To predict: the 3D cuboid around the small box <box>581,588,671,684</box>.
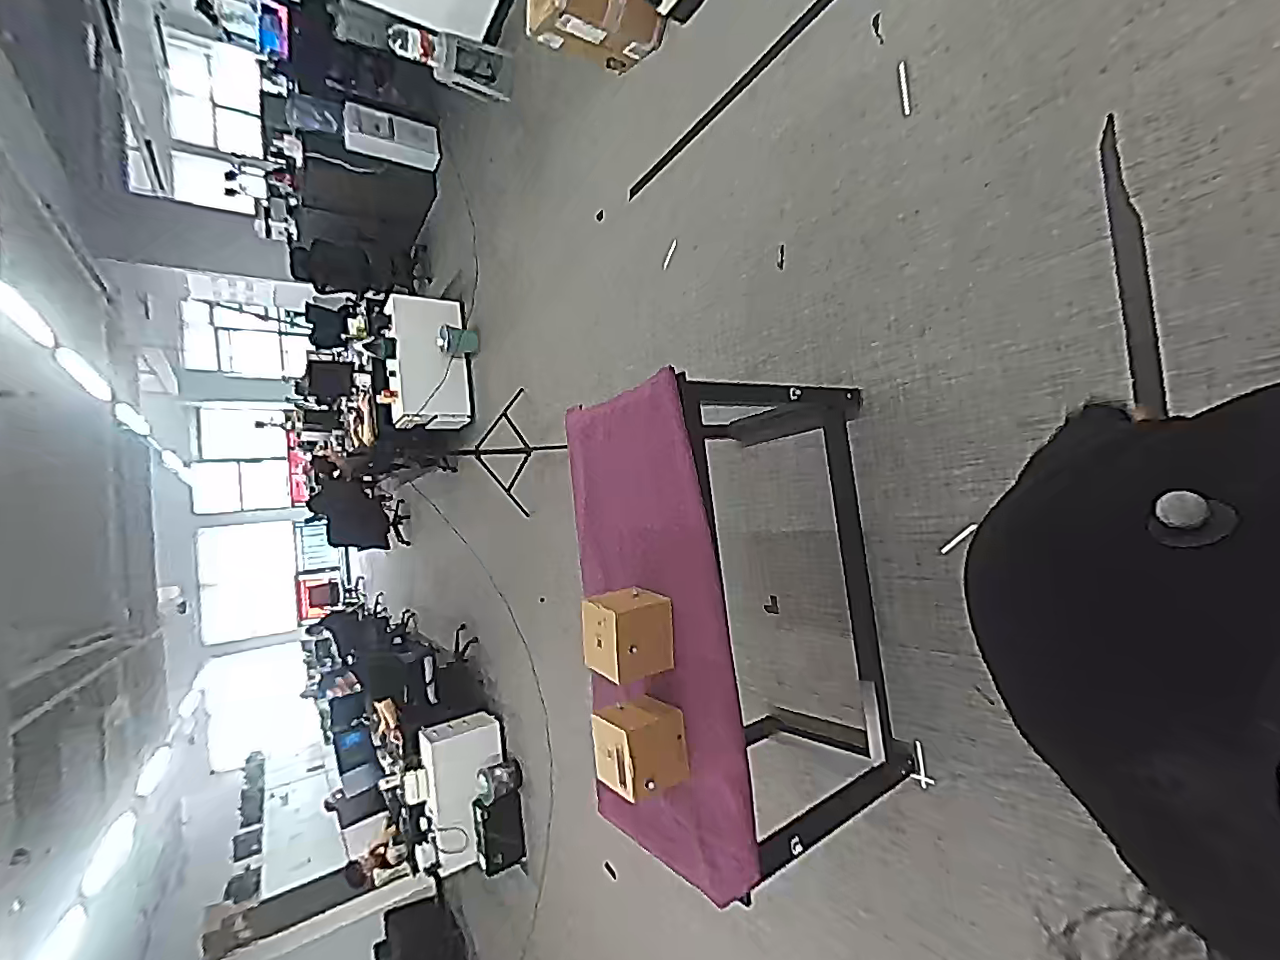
[{"bbox_3d":[-0.032,0.383,1.360,0.168,0.176,0.179,2,95,55],"label":"small box"}]
